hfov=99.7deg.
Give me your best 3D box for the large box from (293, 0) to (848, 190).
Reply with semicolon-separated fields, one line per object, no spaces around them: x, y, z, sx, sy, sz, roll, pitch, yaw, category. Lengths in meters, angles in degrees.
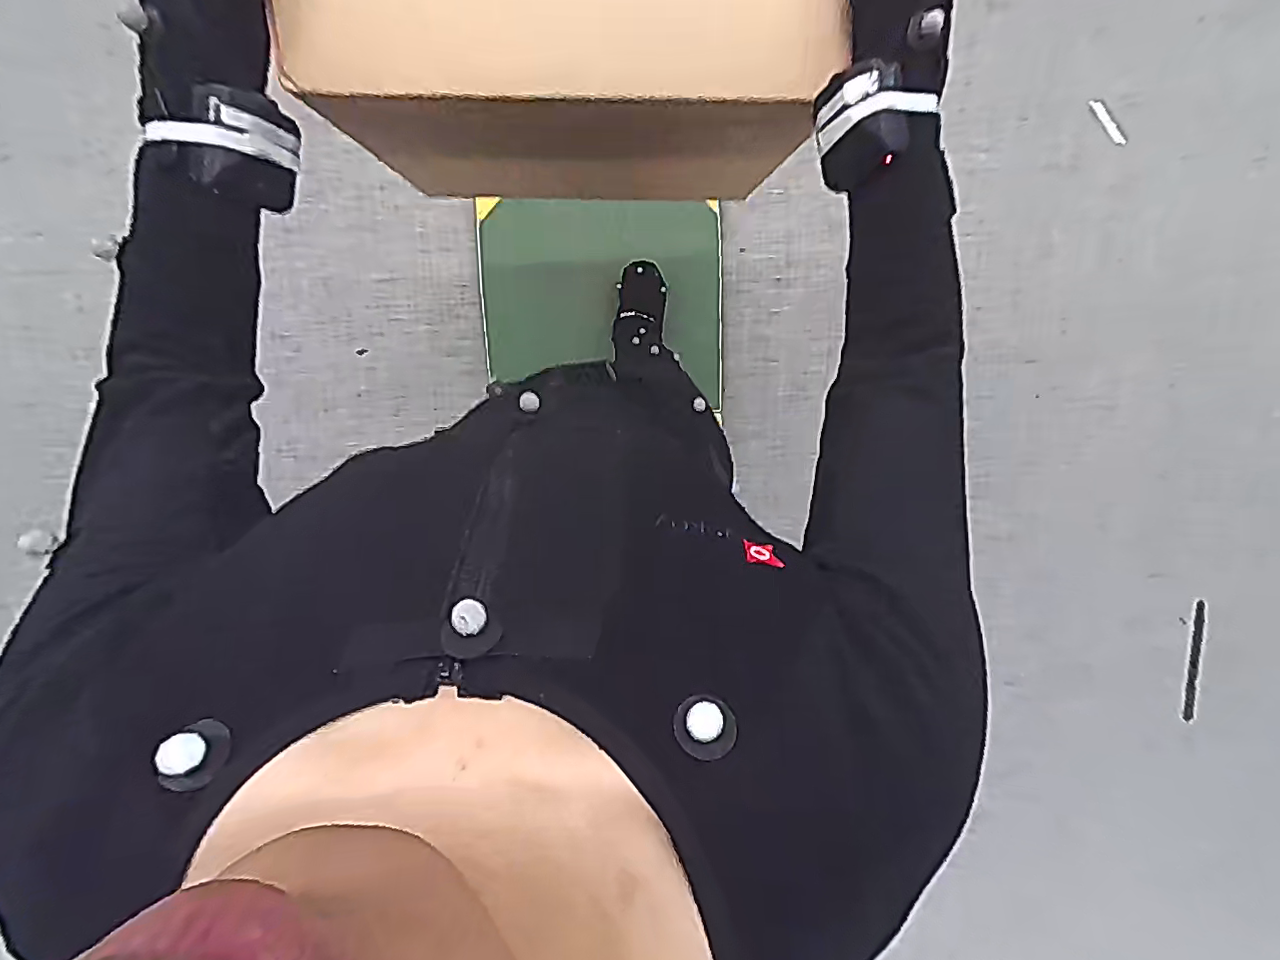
-0.059;-0.480;0.502;0.408;0.320;0.320;-2;106;-4;large box
